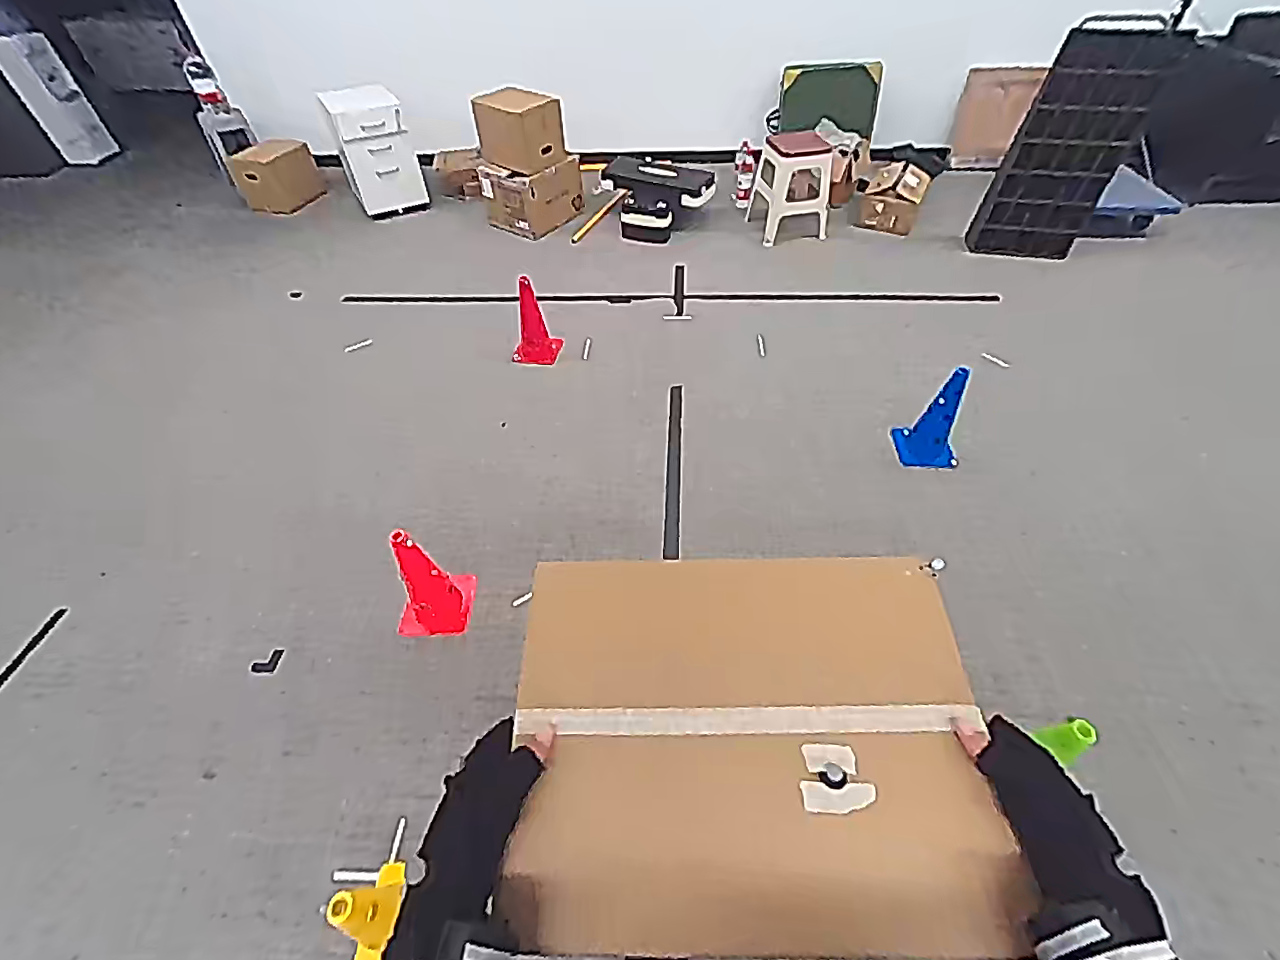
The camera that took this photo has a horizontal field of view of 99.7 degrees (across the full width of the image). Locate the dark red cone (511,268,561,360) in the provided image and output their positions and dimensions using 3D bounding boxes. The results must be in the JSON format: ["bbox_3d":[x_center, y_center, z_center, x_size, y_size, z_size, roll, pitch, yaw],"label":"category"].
[{"bbox_3d":[-0.473,-0.721,2.337,0.201,0.394,0.202,6,49,6],"label":"dark red cone"}]

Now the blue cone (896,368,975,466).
[{"bbox_3d":[1.064,-0.233,1.901,0.192,0.380,0.193,4,49,4],"label":"blue cone"}]

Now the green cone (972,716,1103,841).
[{"bbox_3d":[0.855,0.591,1.154,0.202,0.368,0.200,-27,54,-22],"label":"green cone"}]

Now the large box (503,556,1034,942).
[{"bbox_3d":[0.095,0.298,0.606,0.408,0.320,0.320,-1,55,2],"label":"large box"}]

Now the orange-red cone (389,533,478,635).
[{"bbox_3d":[-0.607,0.265,1.500,0.198,0.360,0.199,-1,50,2],"label":"orange-red cone"}]
